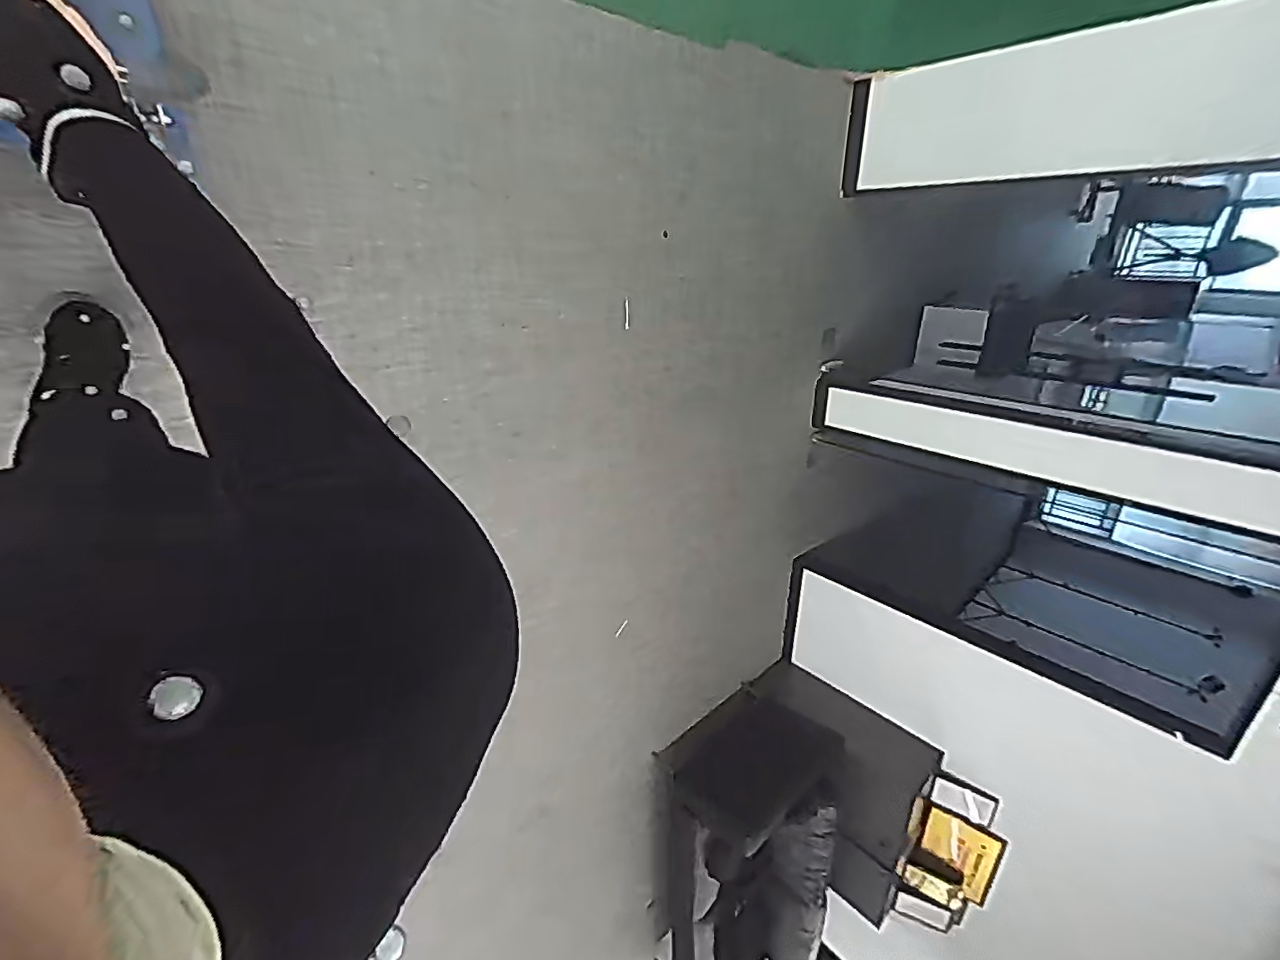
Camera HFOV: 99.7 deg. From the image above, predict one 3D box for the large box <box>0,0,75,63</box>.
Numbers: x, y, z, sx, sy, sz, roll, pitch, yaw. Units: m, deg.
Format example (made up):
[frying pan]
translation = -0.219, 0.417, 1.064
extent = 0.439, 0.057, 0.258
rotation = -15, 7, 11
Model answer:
[large box]
translation = -0.909, -0.762, 0.591
extent = 0.320, 0.320, 0.408
rotation = -17, 119, -40
